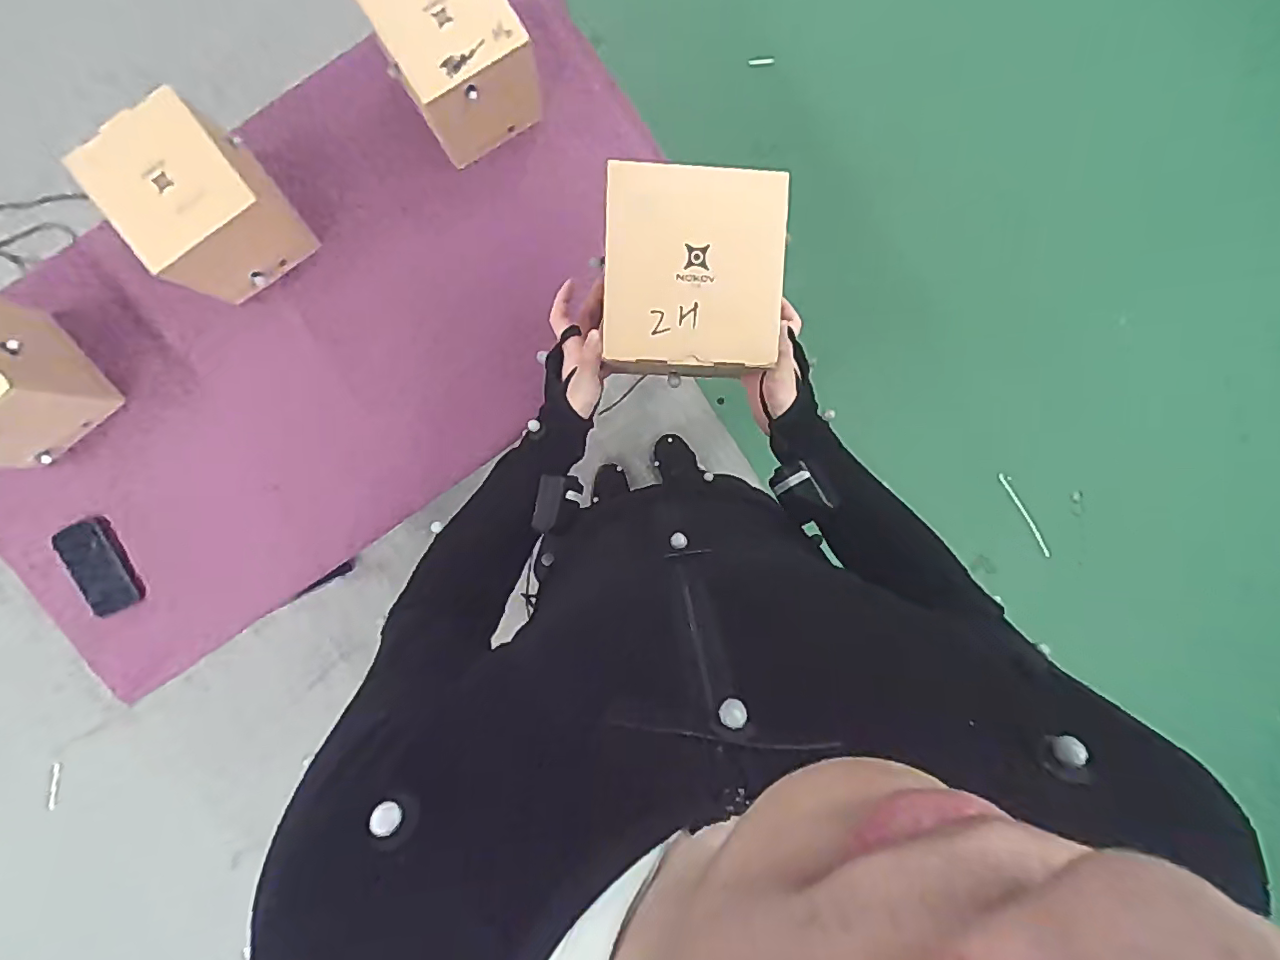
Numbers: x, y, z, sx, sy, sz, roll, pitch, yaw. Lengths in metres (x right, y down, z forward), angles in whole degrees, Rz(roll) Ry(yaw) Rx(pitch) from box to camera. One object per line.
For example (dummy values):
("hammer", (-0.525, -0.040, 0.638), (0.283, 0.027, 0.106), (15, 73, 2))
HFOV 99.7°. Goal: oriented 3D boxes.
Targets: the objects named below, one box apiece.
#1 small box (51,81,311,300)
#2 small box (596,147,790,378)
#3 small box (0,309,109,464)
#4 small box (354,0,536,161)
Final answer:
("small box", (-0.613, -0.382, 0.750), (0.168, 0.176, 0.179), (-36, 95, -1))
("small box", (0.042, -0.204, 0.556), (0.168, 0.176, 0.179), (3, 97, -3))
("small box", (-0.911, -0.132, 0.741), (0.168, 0.176, 0.179), (-40, 94, -2))
("small box", (-0.267, -0.603, 0.761), (0.168, 0.176, 0.179), (-33, 94, -1))
